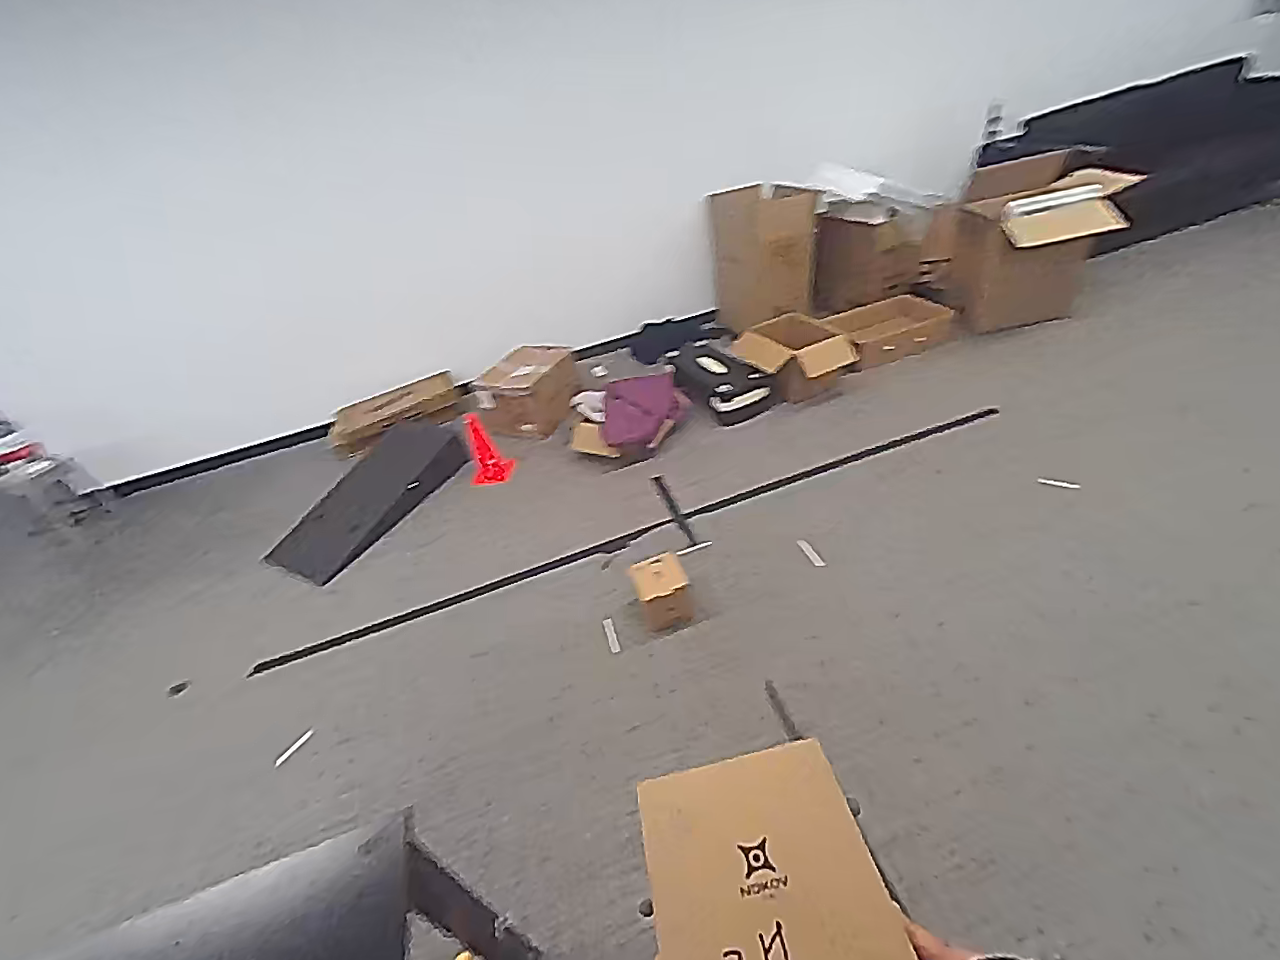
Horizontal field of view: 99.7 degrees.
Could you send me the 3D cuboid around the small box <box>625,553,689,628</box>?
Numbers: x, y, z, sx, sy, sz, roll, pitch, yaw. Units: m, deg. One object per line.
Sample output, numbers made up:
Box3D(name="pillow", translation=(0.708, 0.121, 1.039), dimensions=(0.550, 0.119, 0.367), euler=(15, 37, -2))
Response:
Box3D(name="small box", translation=(0.062, 0.395, 1.903), dimensions=(0.168, 0.176, 0.179), euler=(-20, 38, -8))
